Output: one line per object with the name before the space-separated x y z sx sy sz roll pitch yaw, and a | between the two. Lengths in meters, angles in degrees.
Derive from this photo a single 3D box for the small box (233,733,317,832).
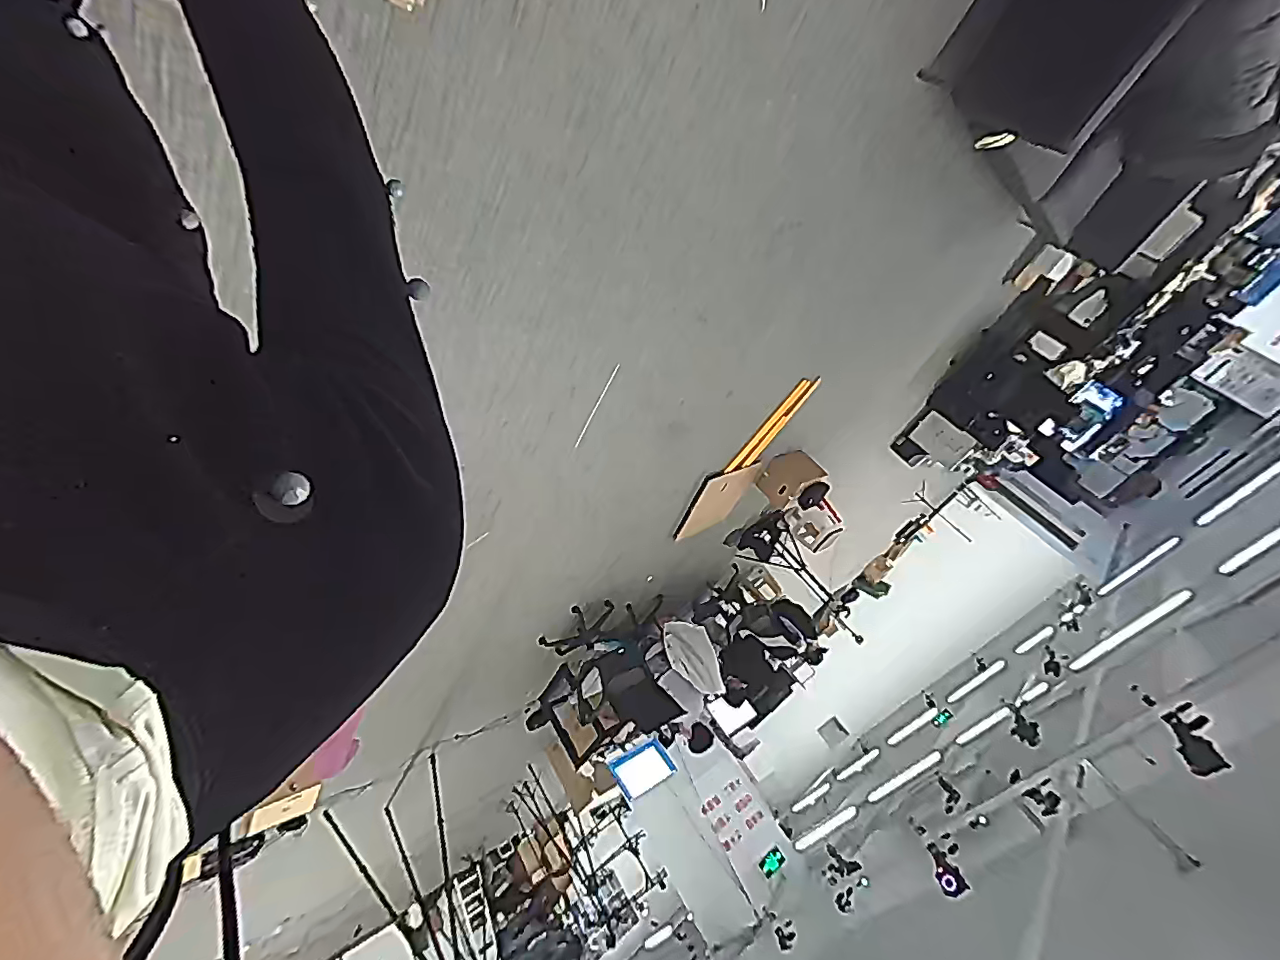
small box | -1.076 0.881 1.588 0.168 0.176 0.179 -4 136 -47

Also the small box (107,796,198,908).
small box | -1.319 0.994 1.463 0.168 0.176 0.179 -6 138 -46
